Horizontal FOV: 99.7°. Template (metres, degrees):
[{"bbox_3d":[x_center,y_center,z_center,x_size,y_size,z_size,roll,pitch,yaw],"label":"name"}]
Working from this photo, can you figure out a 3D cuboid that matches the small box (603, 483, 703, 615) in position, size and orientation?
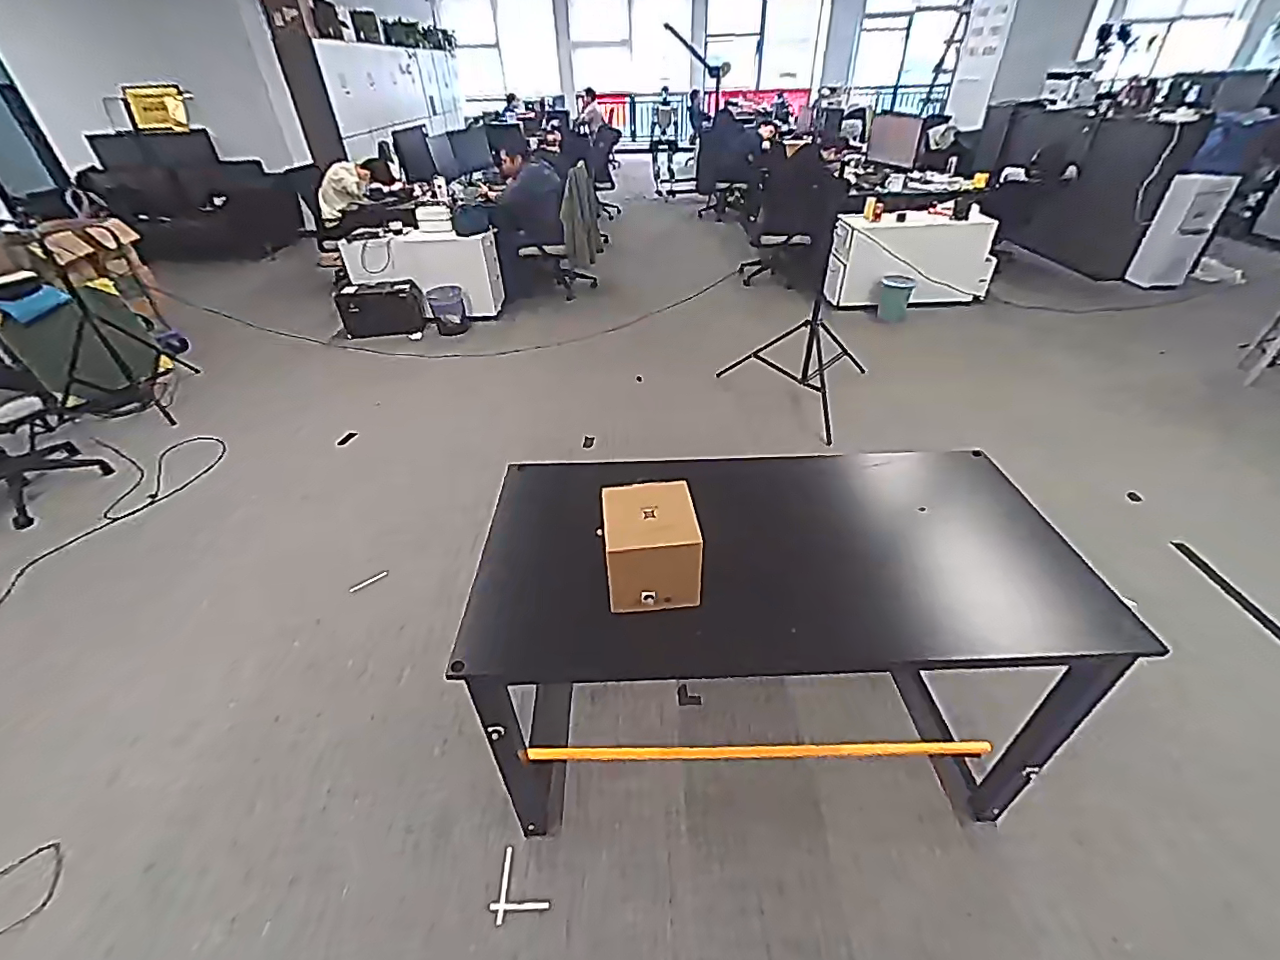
[{"bbox_3d":[0.020,0.128,1.019,0.168,0.176,0.179,-6,38,-4],"label":"small box"}]
